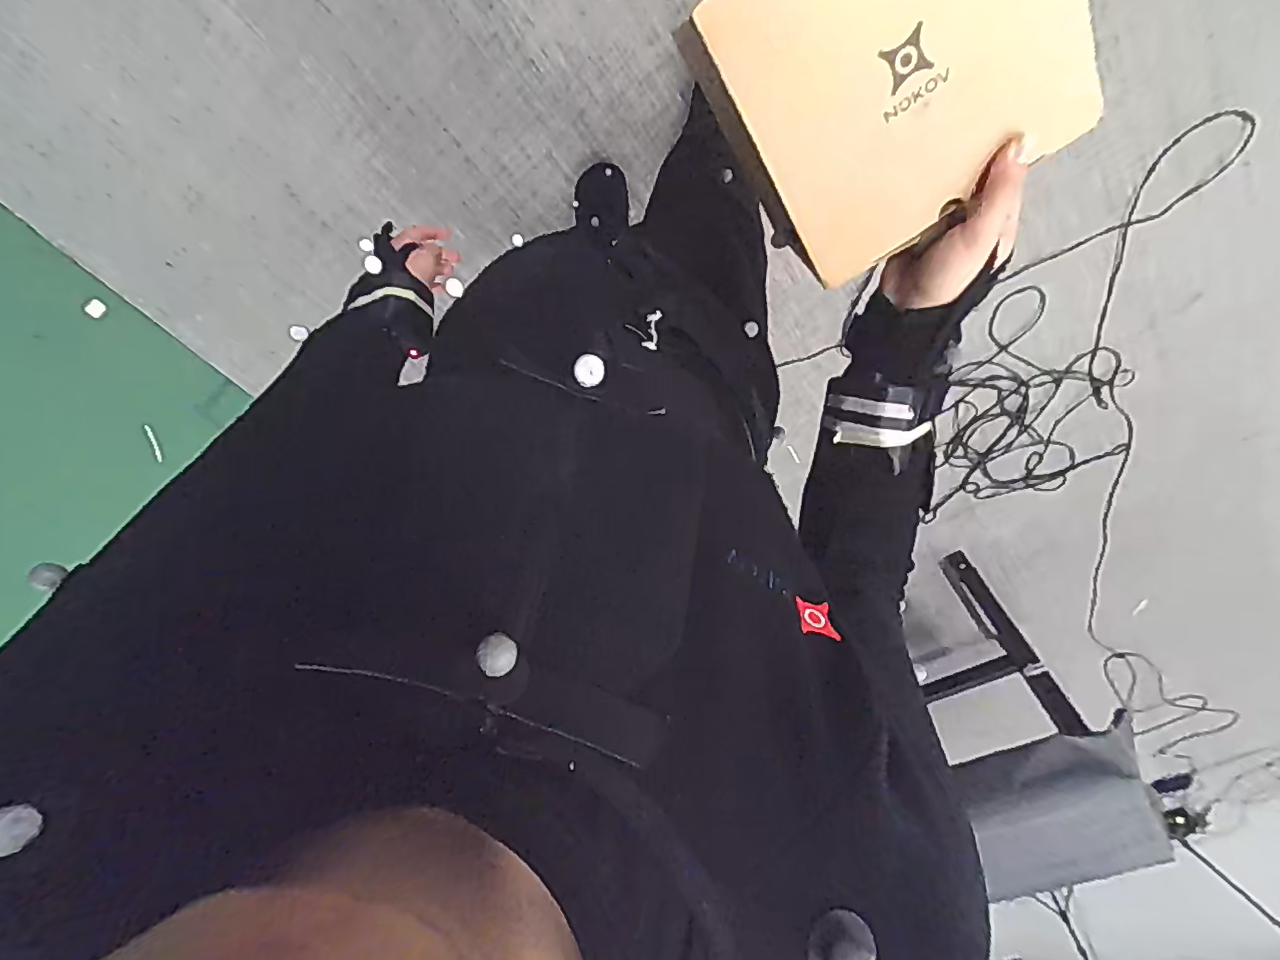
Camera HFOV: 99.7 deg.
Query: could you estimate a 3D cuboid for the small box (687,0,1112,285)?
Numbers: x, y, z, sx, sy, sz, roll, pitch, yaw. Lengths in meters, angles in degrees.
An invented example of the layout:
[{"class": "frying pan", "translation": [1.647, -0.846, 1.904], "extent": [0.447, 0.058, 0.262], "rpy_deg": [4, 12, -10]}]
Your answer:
[{"class": "small box", "translation": [0.145, -0.266, 0.348], "extent": [0.168, 0.176, 0.179], "rpy_deg": [-31, 123, 20]}]
